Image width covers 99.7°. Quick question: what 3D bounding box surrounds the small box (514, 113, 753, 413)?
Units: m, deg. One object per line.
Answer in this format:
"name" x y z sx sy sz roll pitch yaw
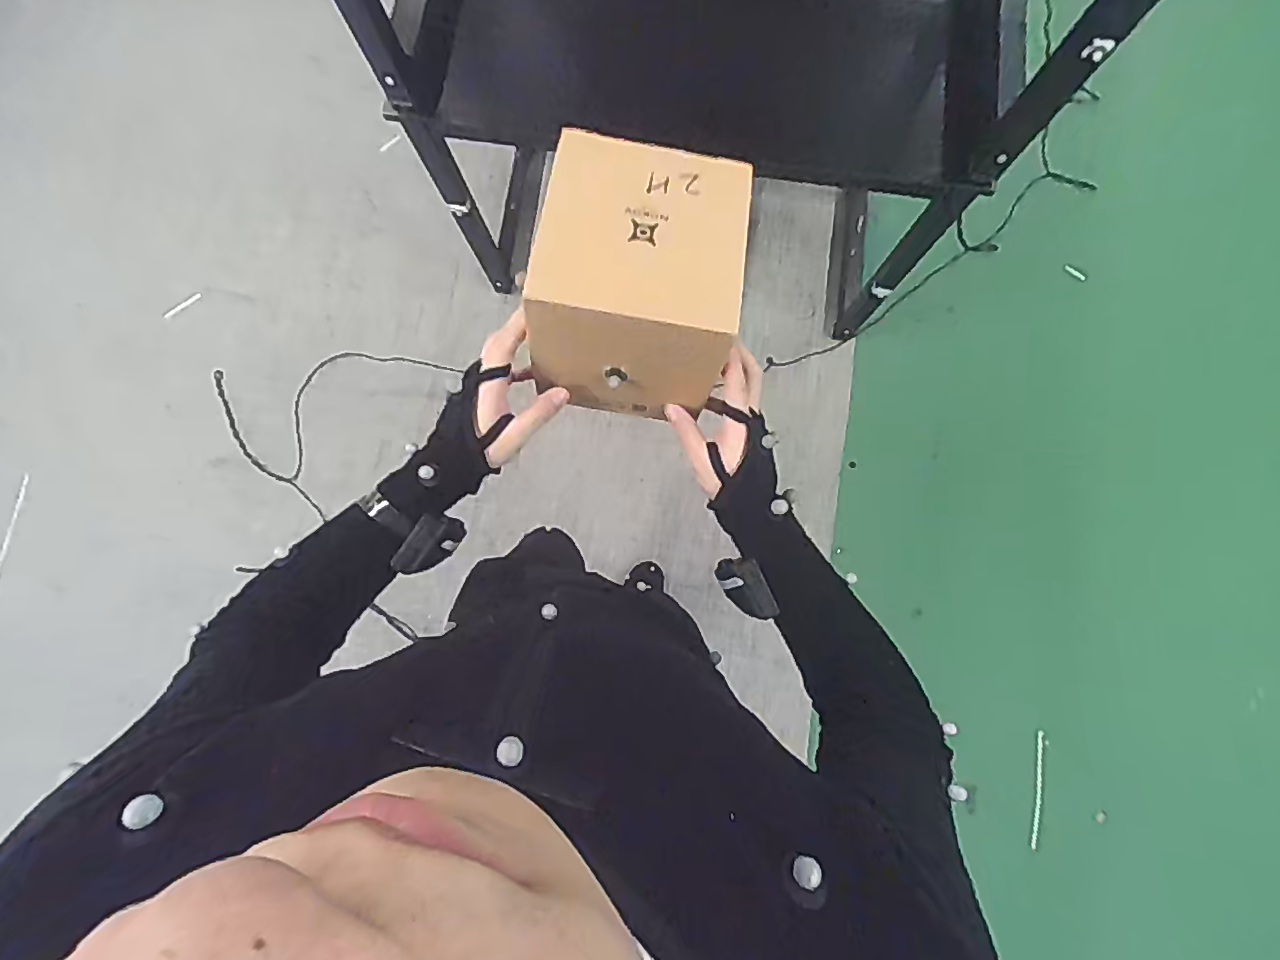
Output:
"small box" -0.007 -0.180 0.493 0.168 0.176 0.179 10 71 -4
